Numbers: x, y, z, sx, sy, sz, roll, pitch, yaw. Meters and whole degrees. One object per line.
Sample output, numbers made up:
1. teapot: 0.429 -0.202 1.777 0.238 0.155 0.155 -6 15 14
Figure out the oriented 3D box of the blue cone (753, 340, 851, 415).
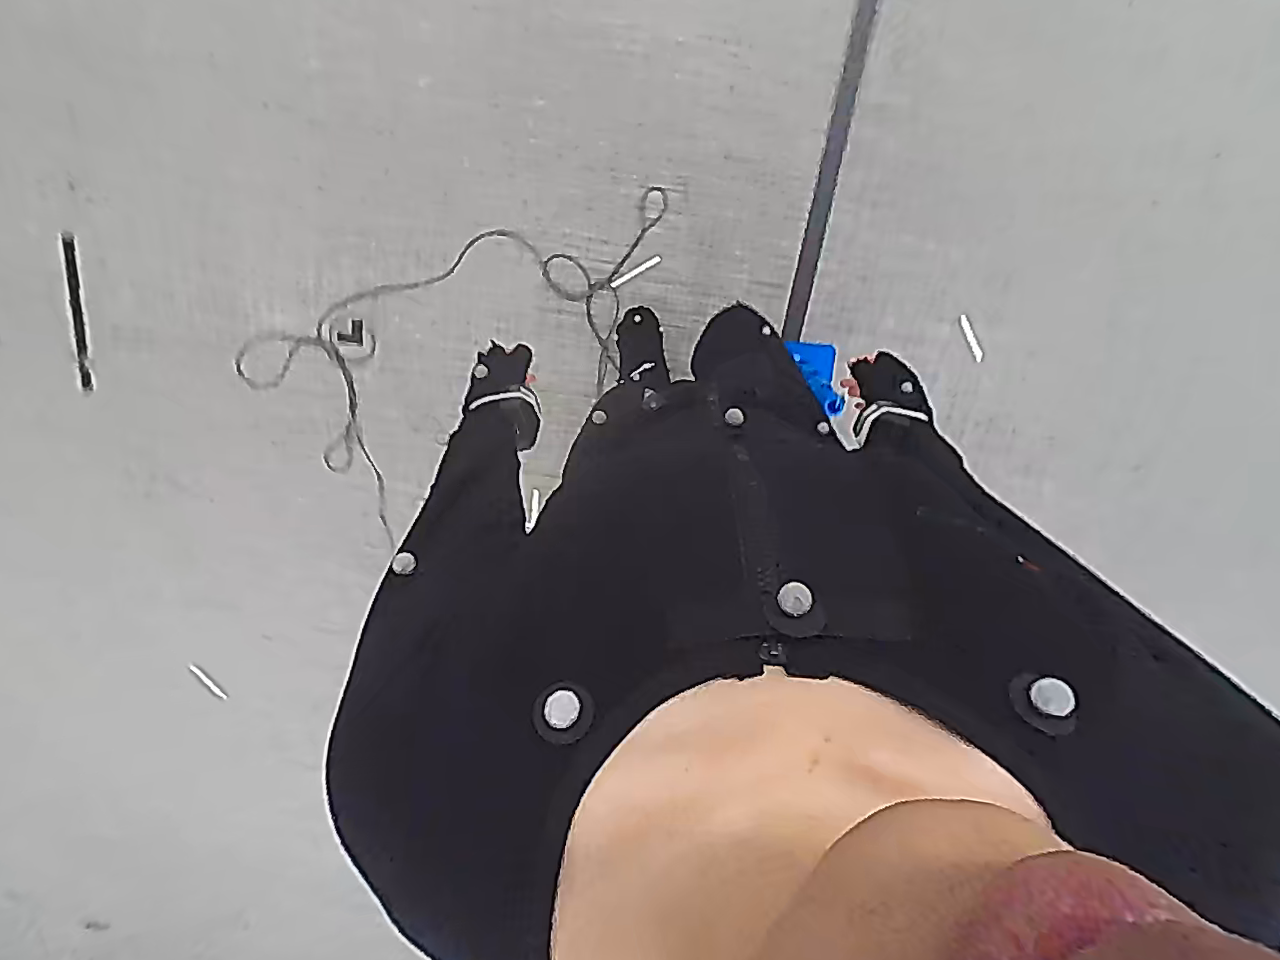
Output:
1. blue cone: 0.391 -0.214 1.240 0.192 0.380 0.193 4 108 -1
